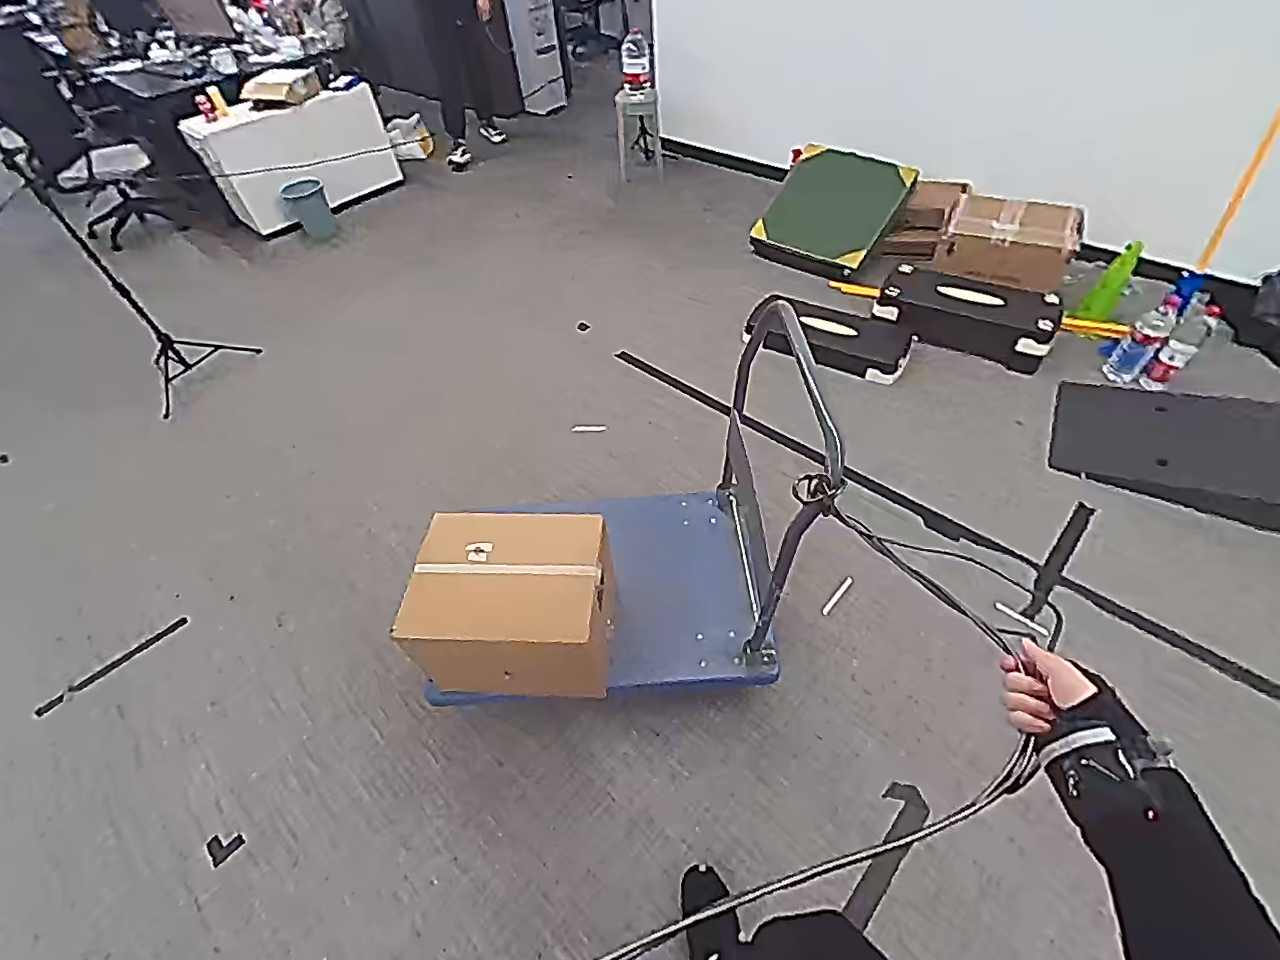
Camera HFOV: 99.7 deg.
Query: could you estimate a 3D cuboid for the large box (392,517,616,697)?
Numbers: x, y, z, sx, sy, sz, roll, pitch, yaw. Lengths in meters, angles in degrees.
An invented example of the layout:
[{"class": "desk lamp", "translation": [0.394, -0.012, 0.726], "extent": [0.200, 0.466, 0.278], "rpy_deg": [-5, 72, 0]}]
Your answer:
[{"class": "large box", "translation": [-0.276, 0.302, 1.262], "extent": [0.408, 0.320, 0.320], "rpy_deg": [-1, 49, 6]}]
